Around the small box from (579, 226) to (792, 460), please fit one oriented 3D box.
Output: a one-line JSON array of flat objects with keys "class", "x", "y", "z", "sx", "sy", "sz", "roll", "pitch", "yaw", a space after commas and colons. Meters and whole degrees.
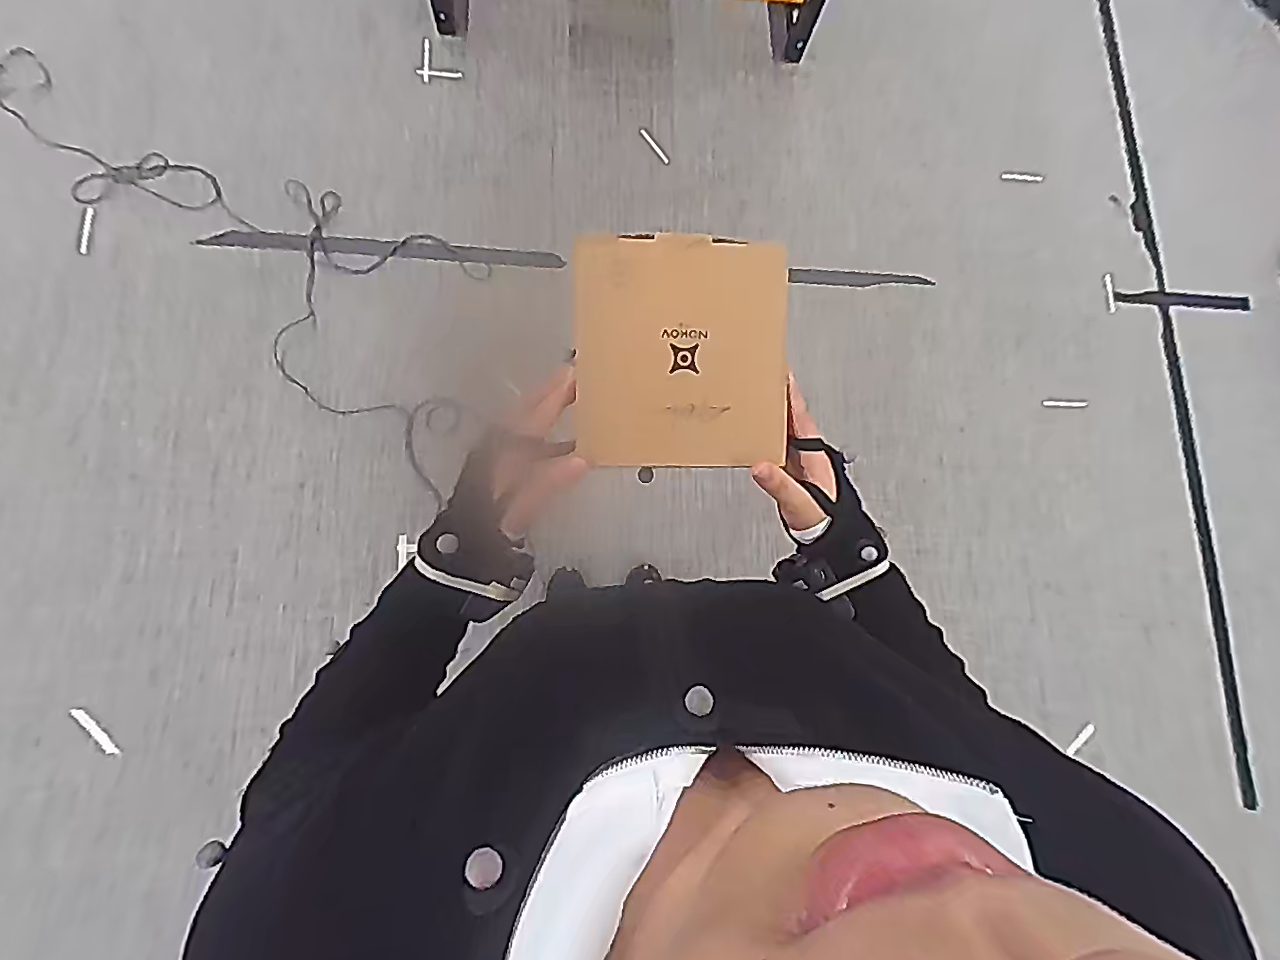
[{"class": "small box", "x": 0.028, "y": -0.107, "z": 0.494, "sx": 0.168, "sy": 0.176, "sz": 0.179, "roll": -1, "pitch": 93, "yaw": -6}]
